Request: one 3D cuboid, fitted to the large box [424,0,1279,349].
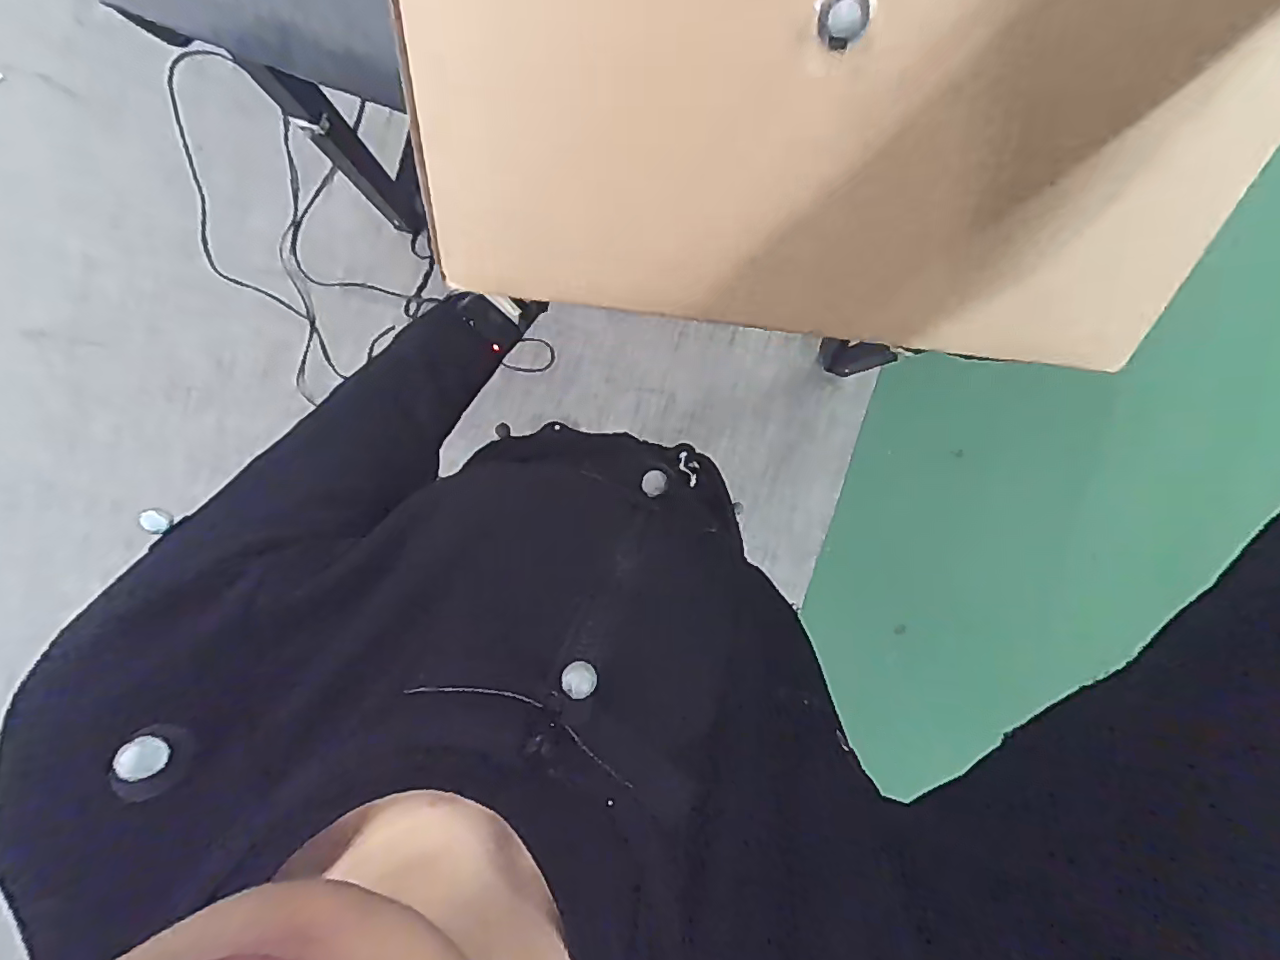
[{"bbox_3d":[0.112,-0.304,0.353,0.408,0.320,0.320,6,130,4],"label":"large box"}]
